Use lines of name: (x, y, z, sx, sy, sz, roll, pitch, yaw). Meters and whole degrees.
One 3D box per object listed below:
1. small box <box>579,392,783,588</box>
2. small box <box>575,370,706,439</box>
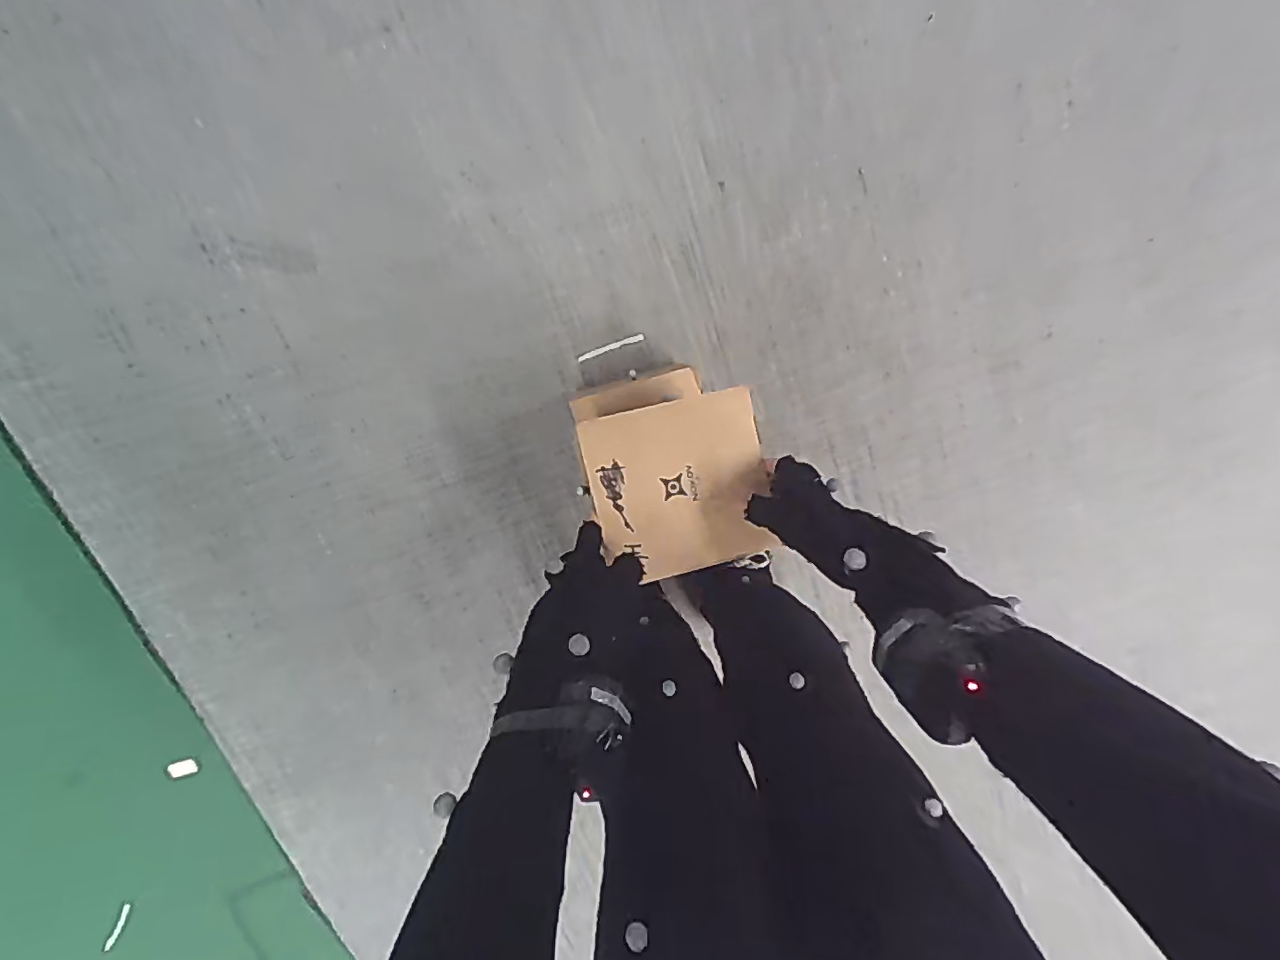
small box: (0.033, 0.008, 0.608, 0.179, 0.176, 0.168, -13, 91, -7)
small box: (0.010, -0.065, 0.811, 0.179, 0.176, 0.168, -16, 103, 0)
